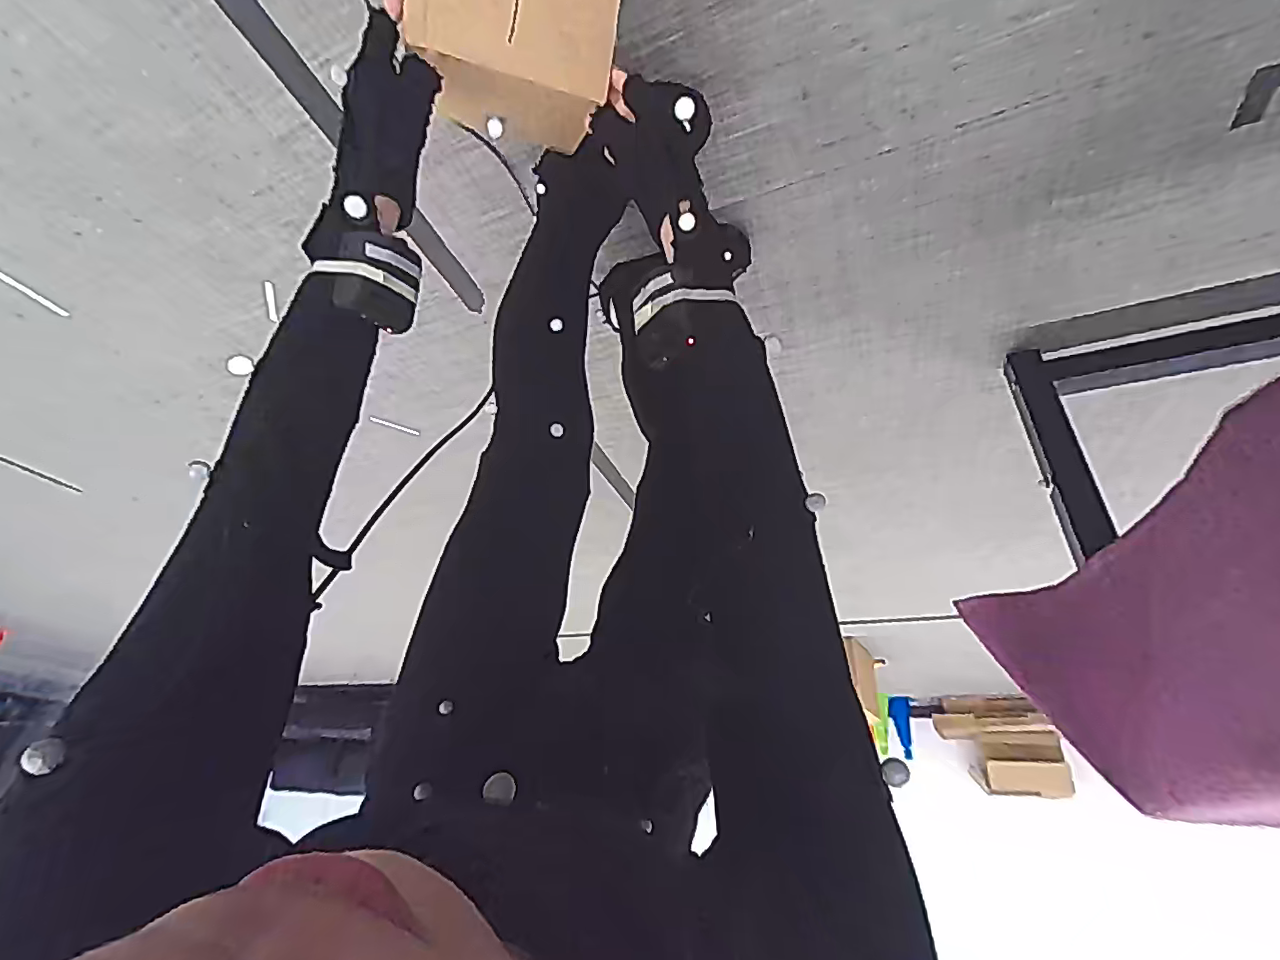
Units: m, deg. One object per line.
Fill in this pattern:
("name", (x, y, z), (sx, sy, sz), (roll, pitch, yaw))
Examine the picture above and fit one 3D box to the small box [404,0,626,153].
("small box", (-0.111, -0.430, 0.484), (0.168, 0.179, 0.176), (5, -167, -20))
